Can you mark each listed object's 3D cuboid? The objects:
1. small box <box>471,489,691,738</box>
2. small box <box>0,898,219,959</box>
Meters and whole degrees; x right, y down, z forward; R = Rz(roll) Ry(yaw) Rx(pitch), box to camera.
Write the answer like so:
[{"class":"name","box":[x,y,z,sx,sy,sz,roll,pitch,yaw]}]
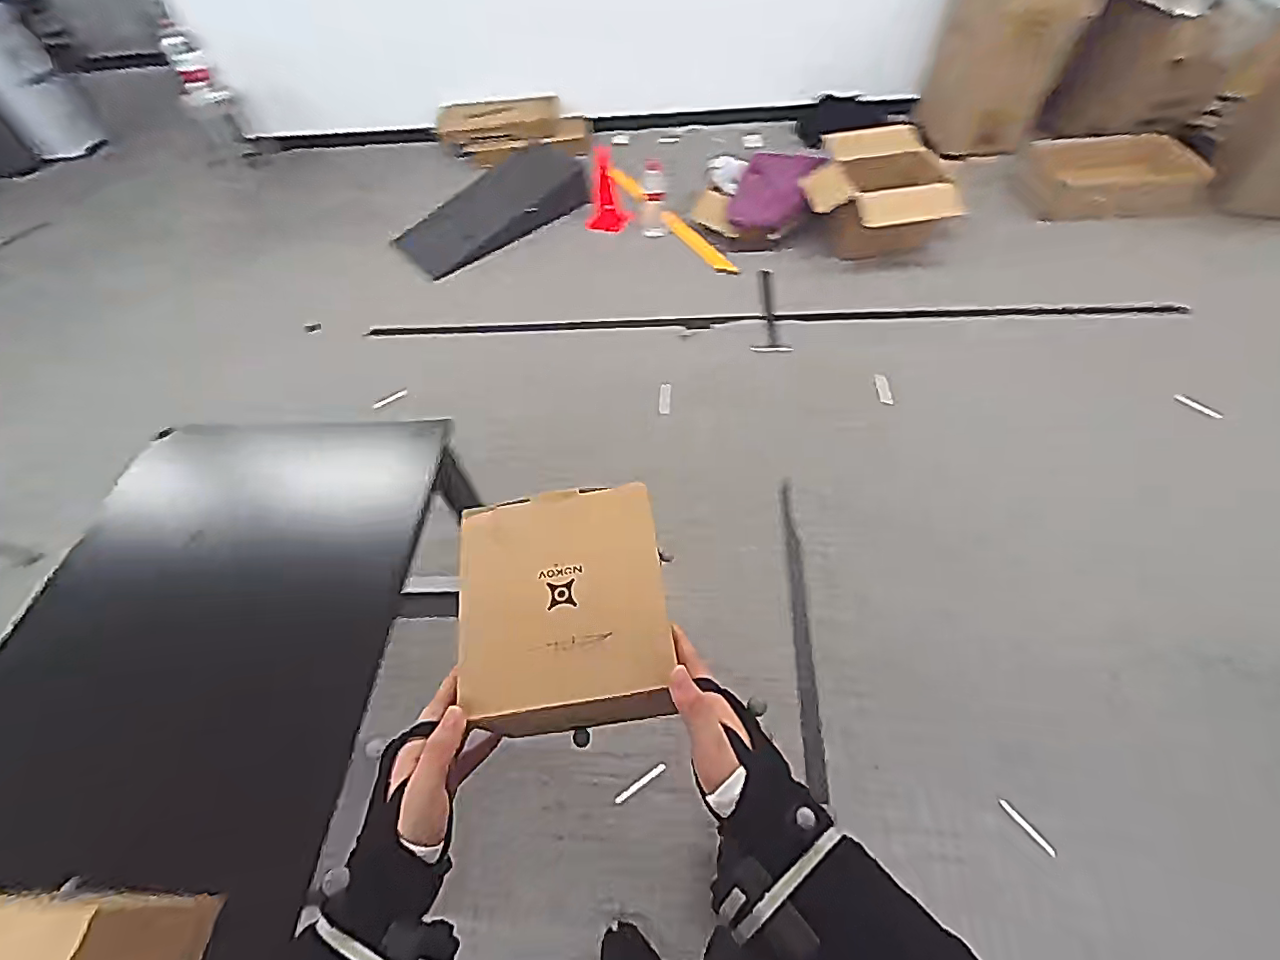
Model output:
[{"class":"small box","box":[-0.048,0.131,0.508,0.168,0.176,0.179,-8,61,0]},{"class":"small box","box":[-0.565,0.507,0.514,0.179,0.176,0.168,-2,53,5]}]
